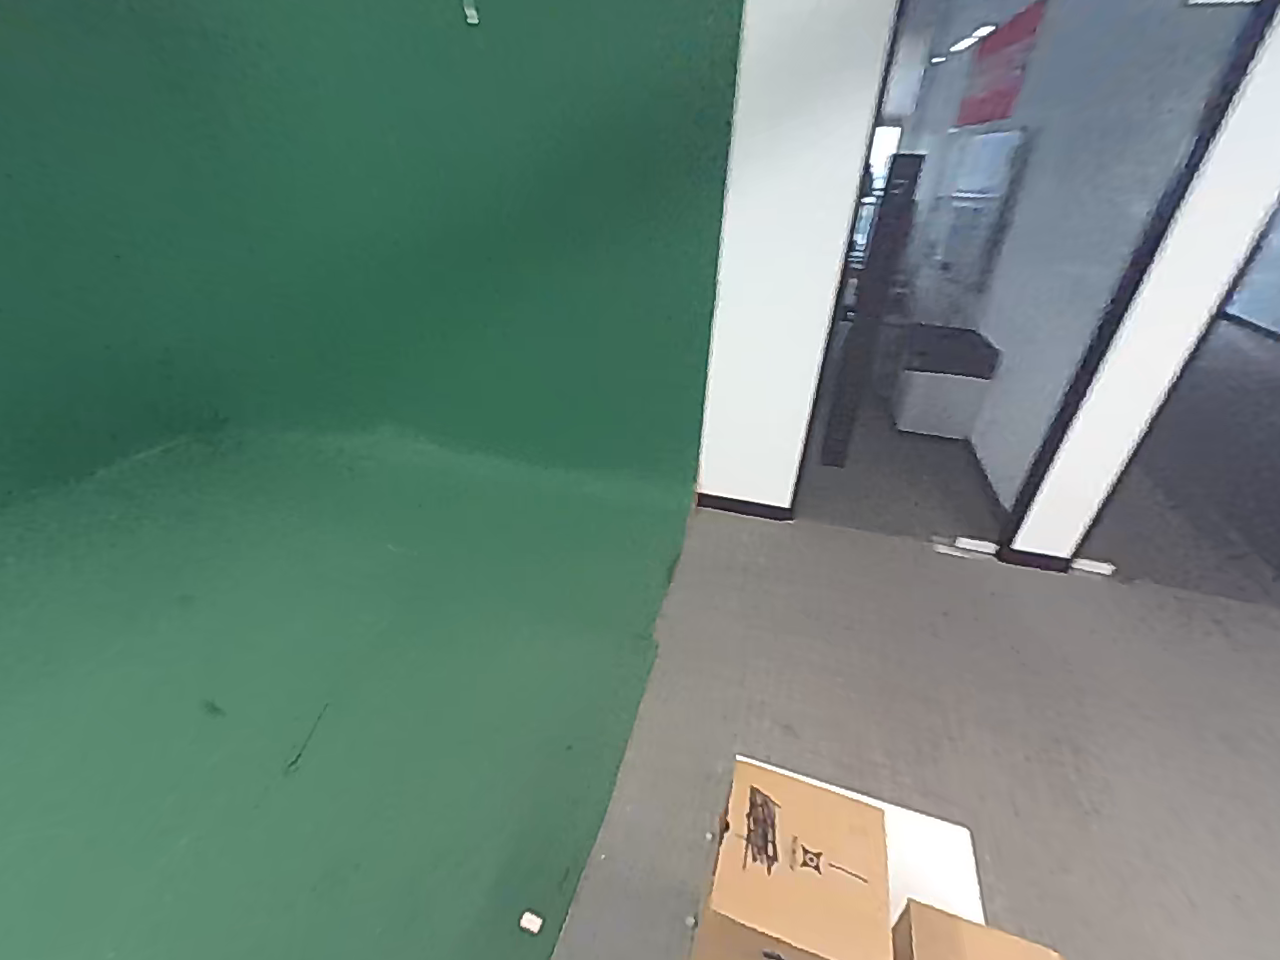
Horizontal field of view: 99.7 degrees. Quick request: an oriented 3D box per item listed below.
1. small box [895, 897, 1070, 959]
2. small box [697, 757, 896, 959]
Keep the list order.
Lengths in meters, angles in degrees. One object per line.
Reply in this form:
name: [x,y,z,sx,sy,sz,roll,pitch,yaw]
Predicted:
small box: [0.398,0.652,0.640,0.179,0.176,0.168,11,32,17]
small box: [0.171,0.462,0.614,0.179,0.176,0.168,14,34,14]
